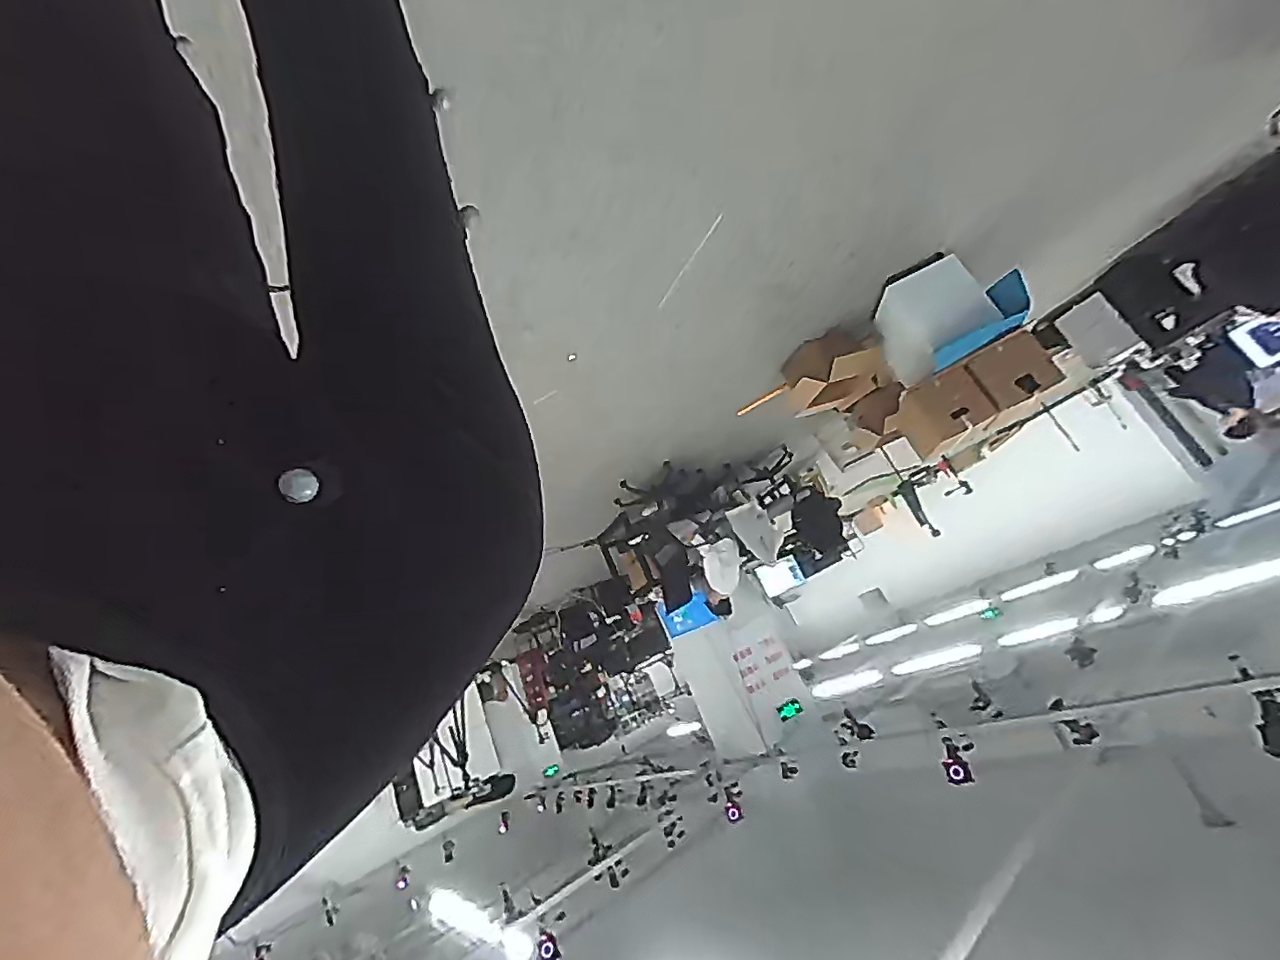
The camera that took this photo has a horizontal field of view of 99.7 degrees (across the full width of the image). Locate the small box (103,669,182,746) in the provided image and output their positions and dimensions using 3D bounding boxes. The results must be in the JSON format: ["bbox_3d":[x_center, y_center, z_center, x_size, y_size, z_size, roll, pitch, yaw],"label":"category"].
[{"bbox_3d":[-1.620,0.736,1.762,0.168,0.176,0.179,-9,156,-39],"label":"small box"}]
